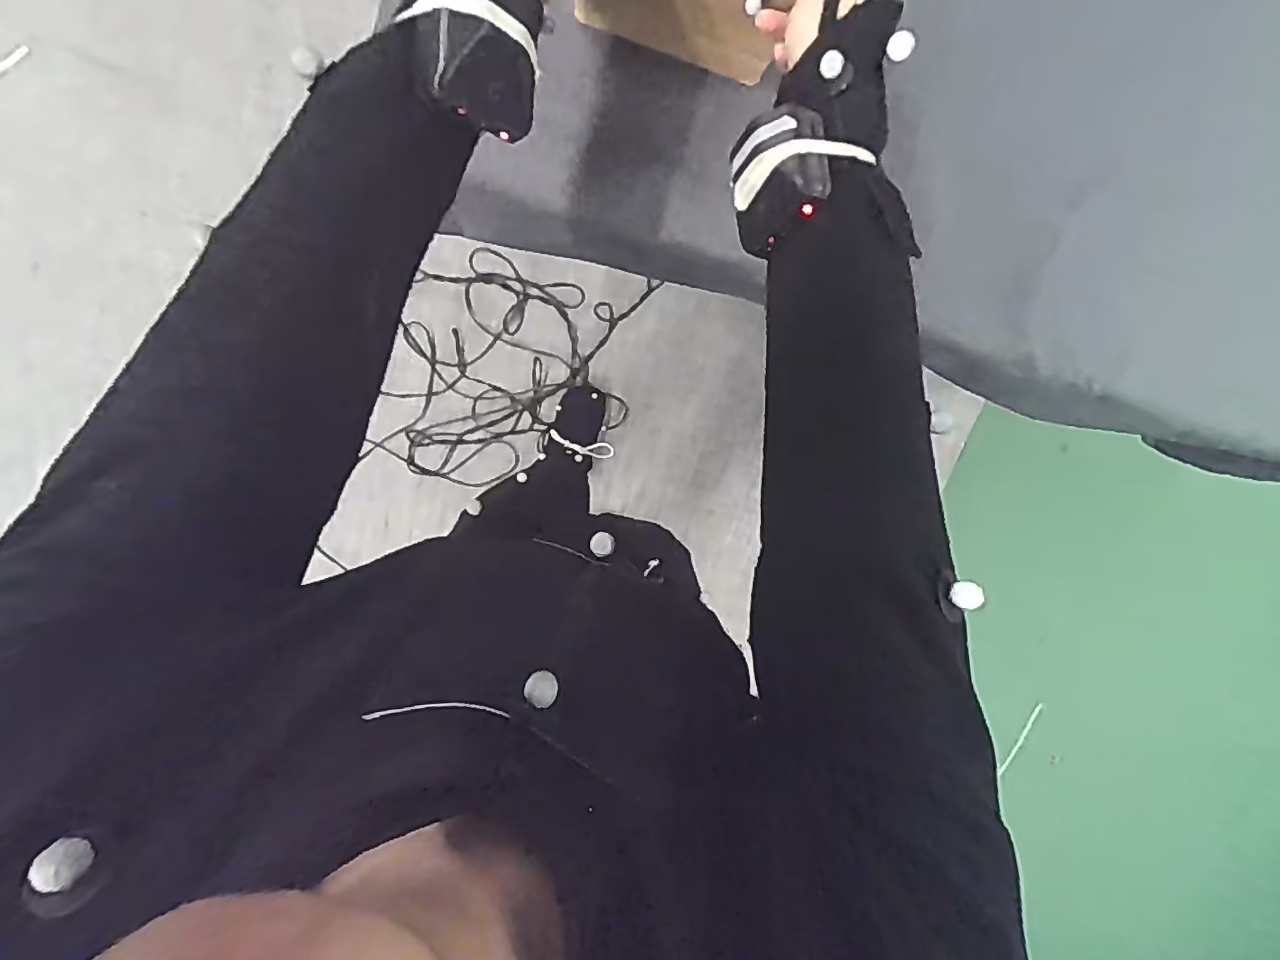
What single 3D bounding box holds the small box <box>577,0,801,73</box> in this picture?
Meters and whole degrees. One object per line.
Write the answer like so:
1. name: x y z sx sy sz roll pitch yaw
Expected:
1. small box: 0.052 -0.440 0.392 0.179 0.176 0.168 12 105 -10
